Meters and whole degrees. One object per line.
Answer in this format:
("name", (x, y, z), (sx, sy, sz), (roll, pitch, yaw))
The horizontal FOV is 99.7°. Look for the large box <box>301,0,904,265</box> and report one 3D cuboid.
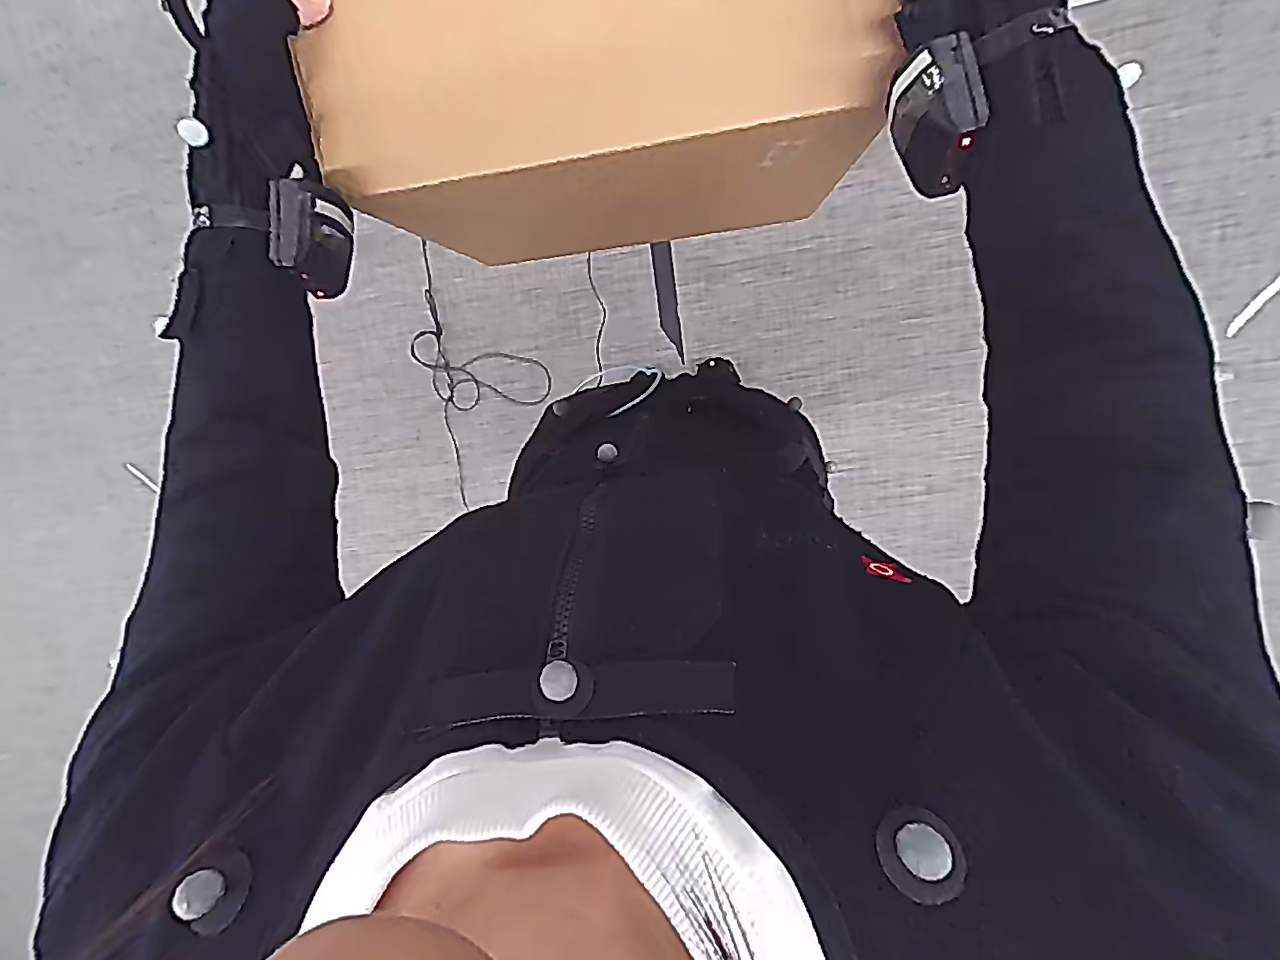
("large box", (-0.032, -0.413, 0.493), (0.408, 0.320, 0.320), (-7, 103, 6))
